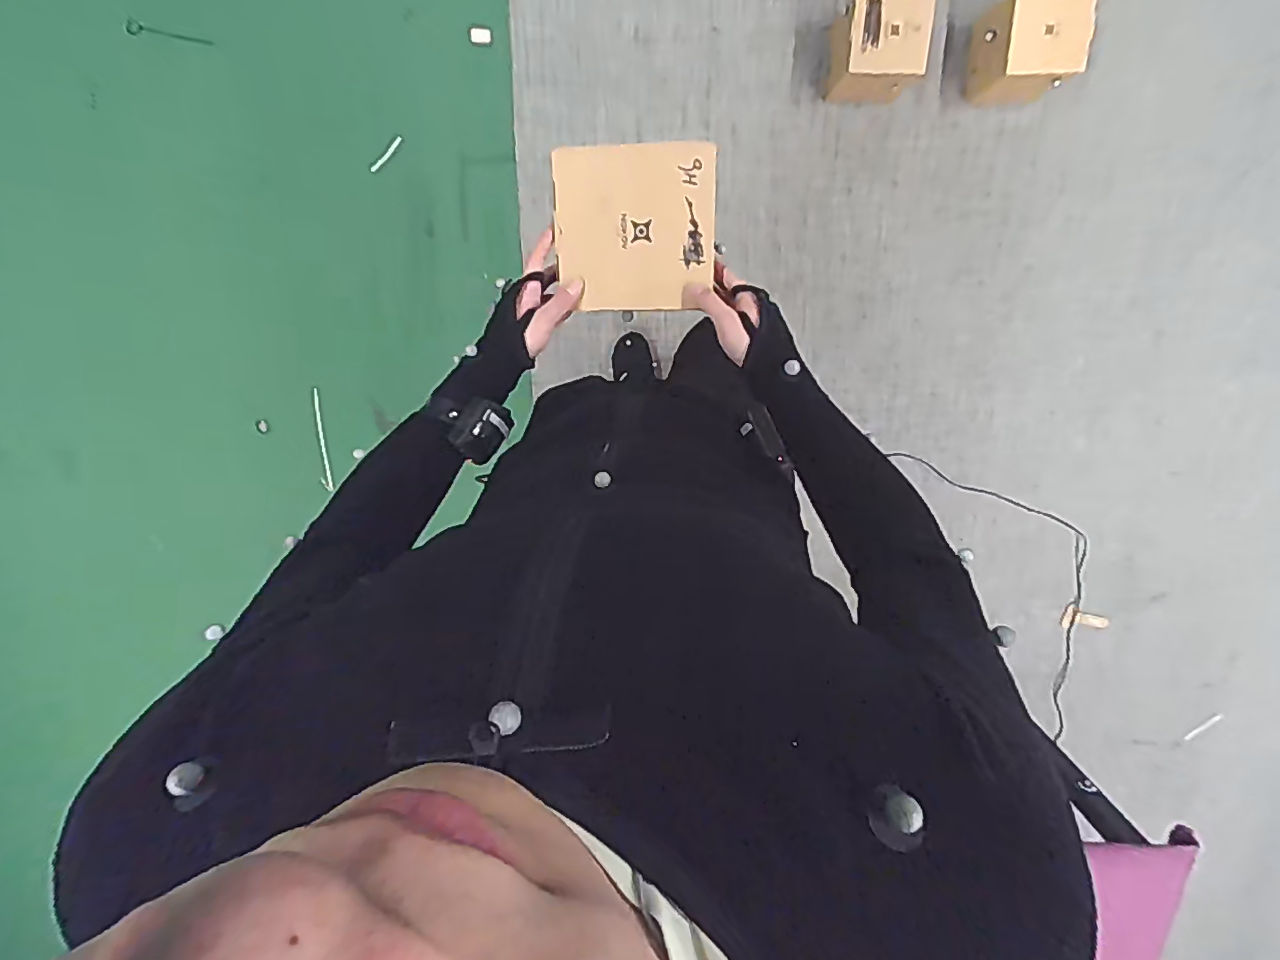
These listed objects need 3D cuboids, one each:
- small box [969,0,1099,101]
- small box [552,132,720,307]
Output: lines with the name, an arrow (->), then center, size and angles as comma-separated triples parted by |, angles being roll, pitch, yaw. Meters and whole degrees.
small box -> 0.891, -0.994, 1.237 | 0.179, 0.176, 0.168 | -2, 106, 1
small box -> 0.002, -0.296, 0.648 | 0.179, 0.176, 0.168 | 2, 107, 5
